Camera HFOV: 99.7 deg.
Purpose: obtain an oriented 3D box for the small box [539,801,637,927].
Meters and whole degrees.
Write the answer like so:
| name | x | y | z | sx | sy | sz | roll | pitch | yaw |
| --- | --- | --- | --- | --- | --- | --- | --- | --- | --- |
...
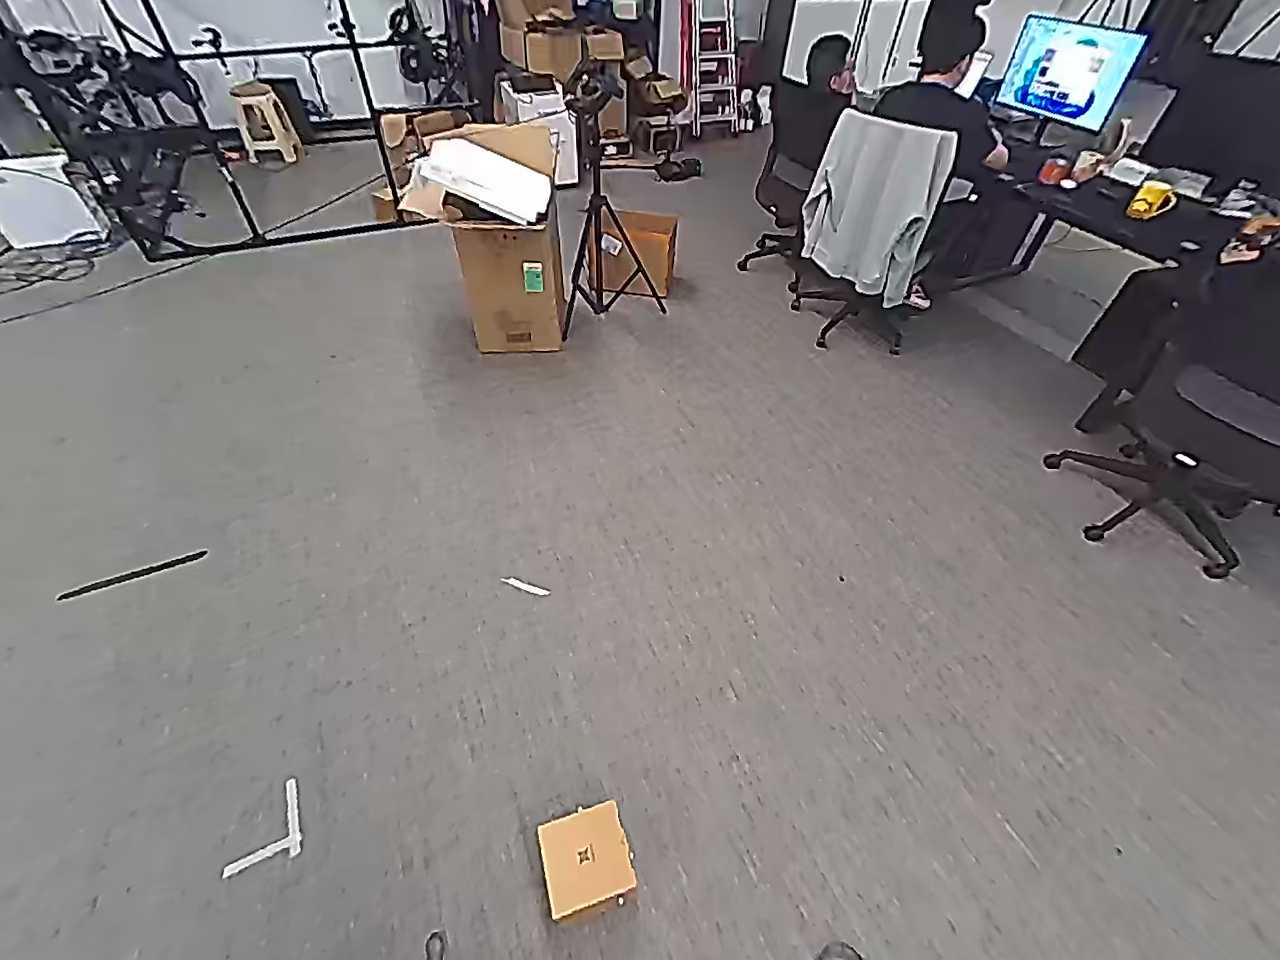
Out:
| name | x | y | z | sx | sy | sz | roll | pitch | yaw |
| --- | --- | --- | --- | --- | --- | --- | --- | --- | --- |
| small box | -0.110 | 0.835 | 1.172 | 0.179 | 0.176 | 0.168 | -13 | 48 | -14 |
